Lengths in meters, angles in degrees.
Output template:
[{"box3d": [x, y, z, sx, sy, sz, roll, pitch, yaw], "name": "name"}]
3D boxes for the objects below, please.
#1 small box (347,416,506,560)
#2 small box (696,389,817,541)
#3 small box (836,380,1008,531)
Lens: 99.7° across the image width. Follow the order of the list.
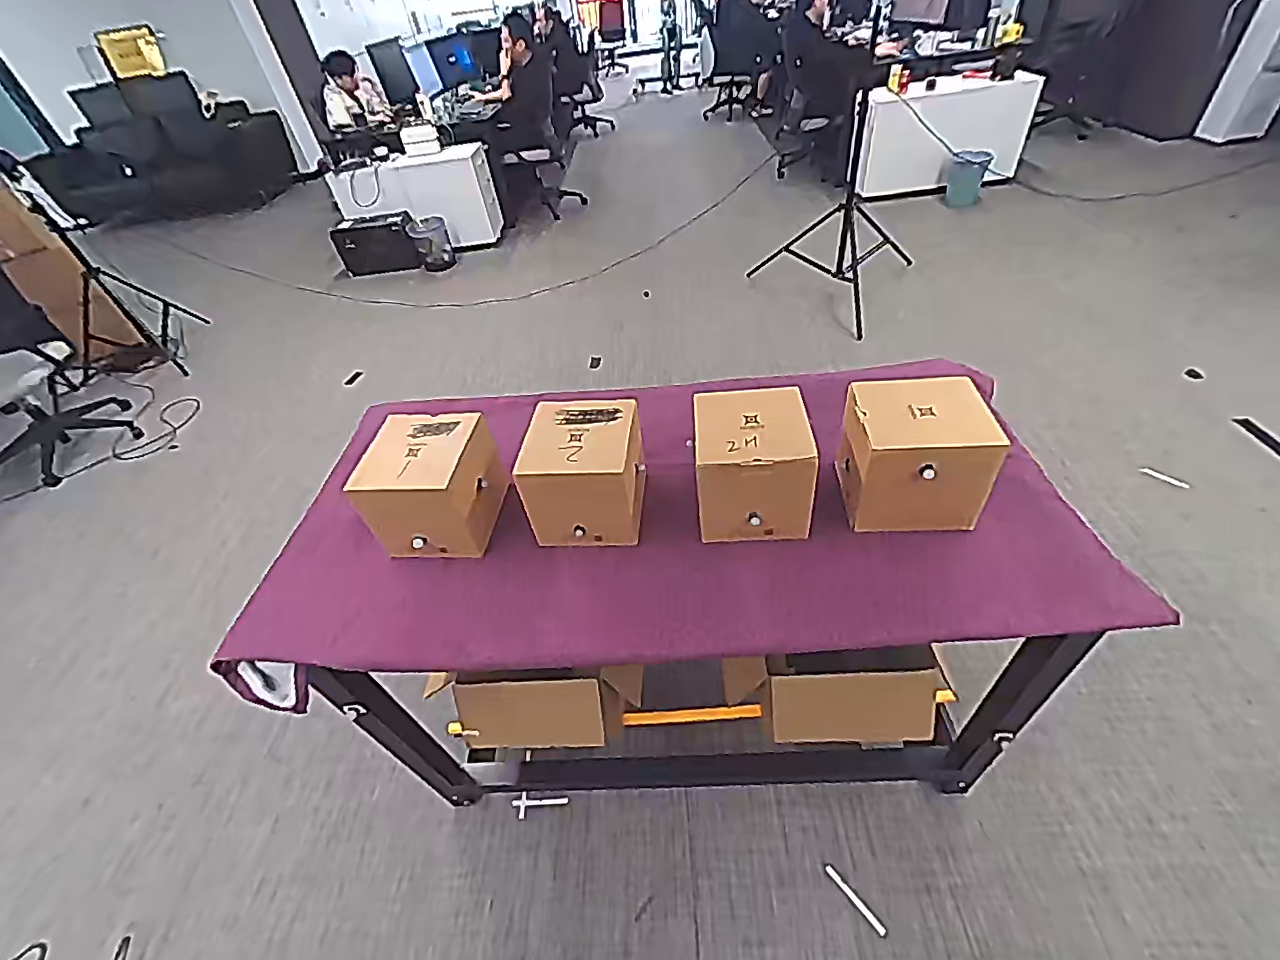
[{"box3d": [-0.337, 0.012, 0.898, 0.168, 0.176, 0.179, -1, 46, 9], "name": "small box"}, {"box3d": [0.173, -0.023, 0.853, 0.168, 0.176, 0.179, -3, 43, 7], "name": "small box"}, {"box3d": [0.413, -0.035, 0.828, 0.179, 0.176, 0.168, -2, 42, 9], "name": "small box"}]
